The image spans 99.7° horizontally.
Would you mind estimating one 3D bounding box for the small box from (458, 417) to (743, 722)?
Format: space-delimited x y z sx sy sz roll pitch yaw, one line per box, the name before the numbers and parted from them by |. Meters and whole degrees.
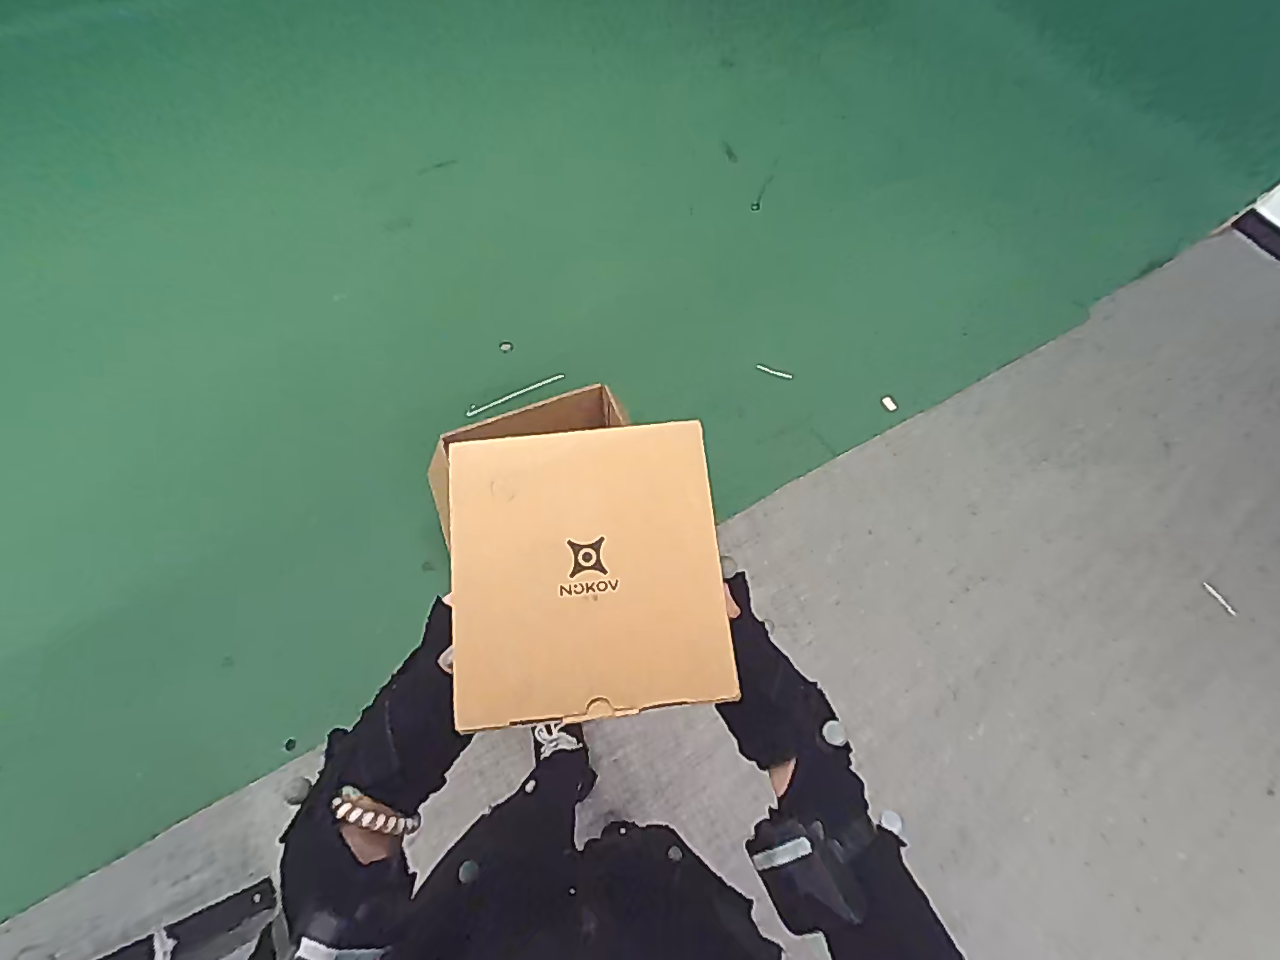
small box | -0.032 0.067 0.410 0.168 0.176 0.179 -6 77 -4
